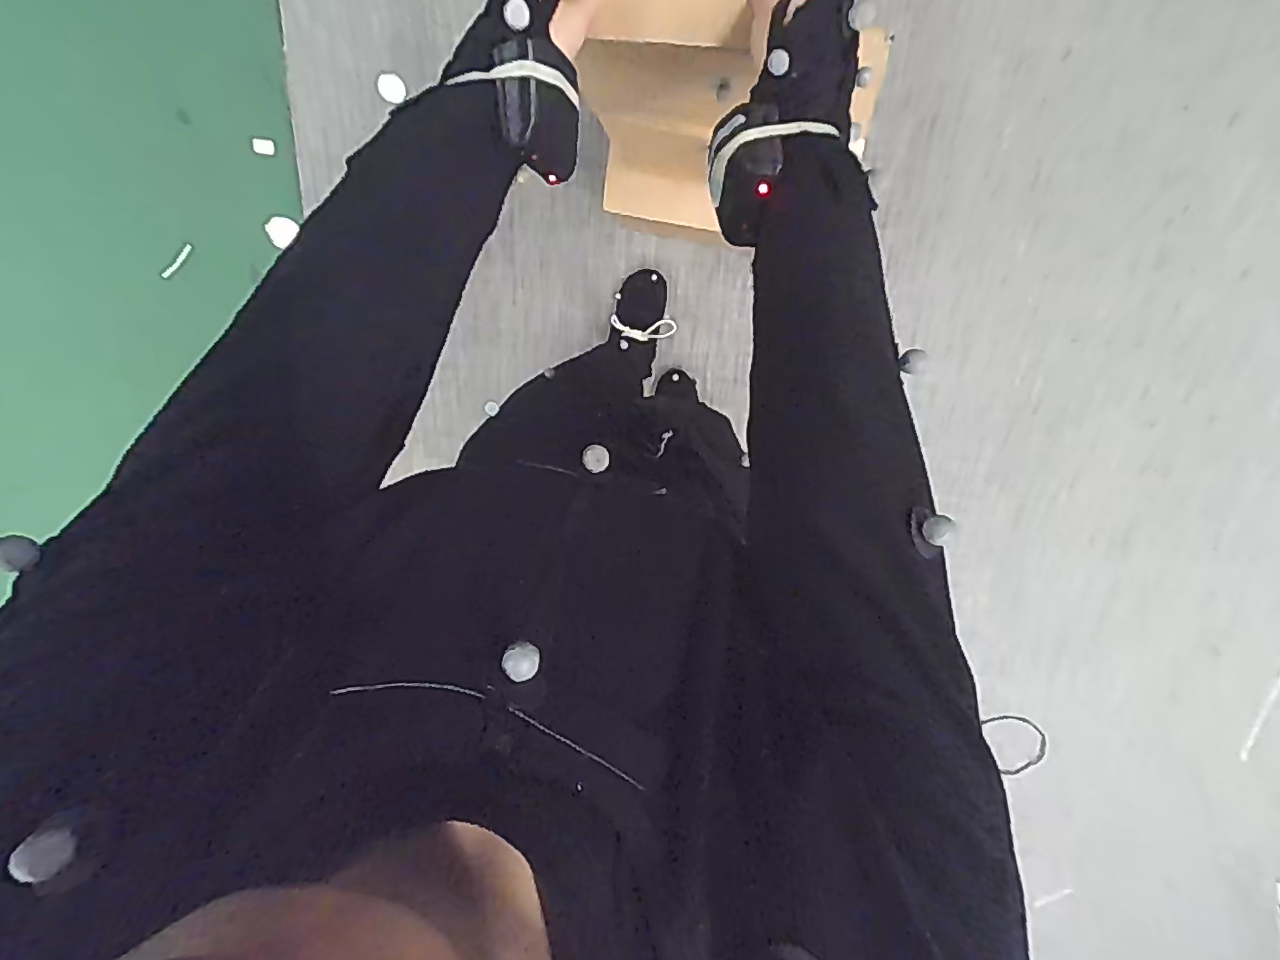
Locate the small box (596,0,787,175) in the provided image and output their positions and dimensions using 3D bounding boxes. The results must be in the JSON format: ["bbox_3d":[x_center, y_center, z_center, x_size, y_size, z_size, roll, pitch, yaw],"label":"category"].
[{"bbox_3d":[0.058,-0.476,0.629,0.179,0.176,0.168,12,109,0],"label":"small box"}]

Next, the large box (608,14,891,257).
[{"bbox_3d":[0.169,-0.612,1.002,0.408,0.320,0.320,10,111,1],"label":"large box"}]
